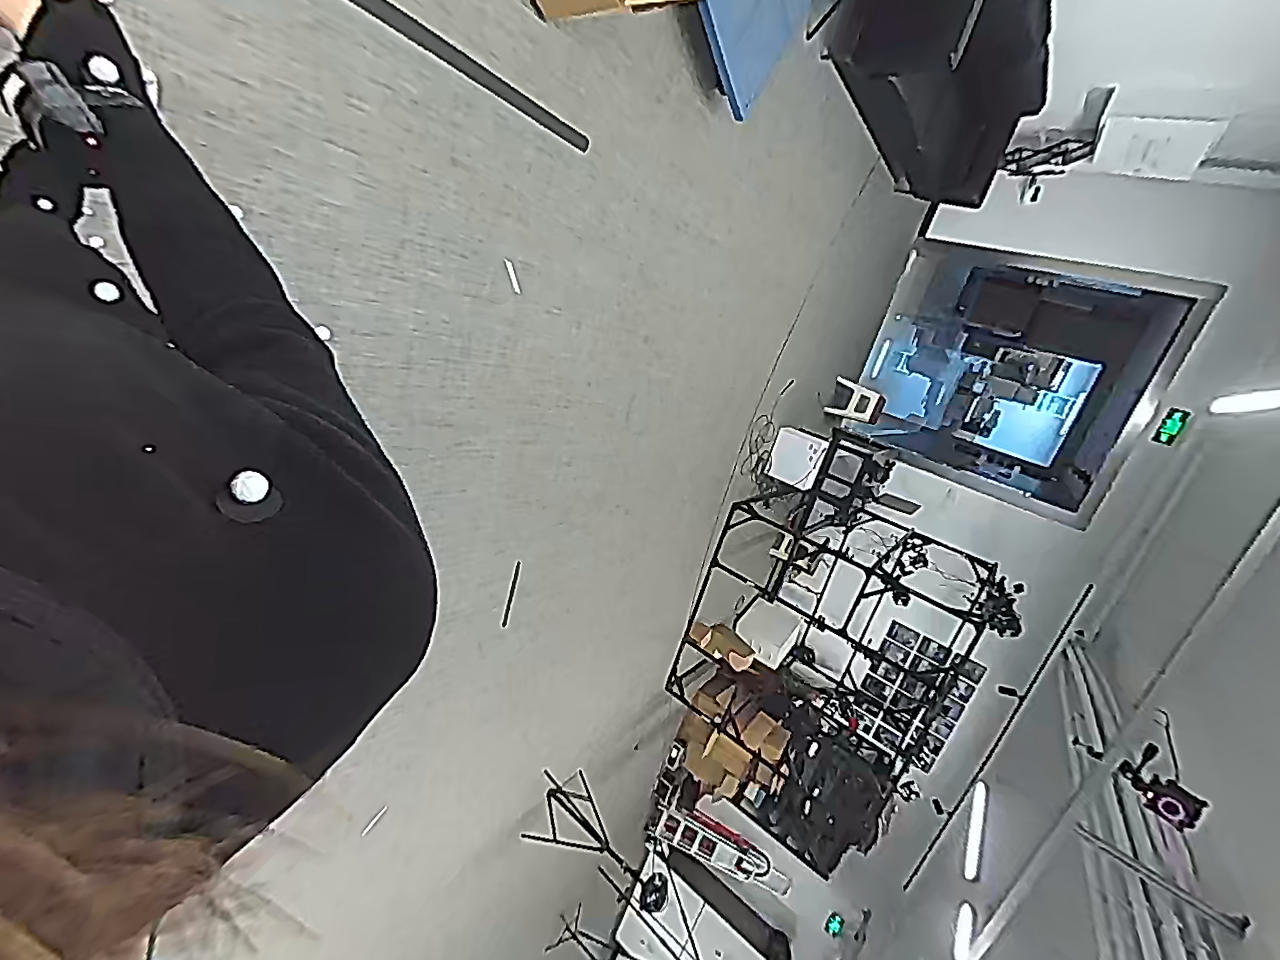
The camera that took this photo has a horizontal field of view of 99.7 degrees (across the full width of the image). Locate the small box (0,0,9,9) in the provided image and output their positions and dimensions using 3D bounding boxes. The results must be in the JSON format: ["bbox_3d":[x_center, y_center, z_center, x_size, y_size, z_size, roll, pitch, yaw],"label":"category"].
[{"bbox_3d":[-0.574,-0.473,0.374,0.168,0.176,0.179,-9,123,-52],"label":"small box"}]
